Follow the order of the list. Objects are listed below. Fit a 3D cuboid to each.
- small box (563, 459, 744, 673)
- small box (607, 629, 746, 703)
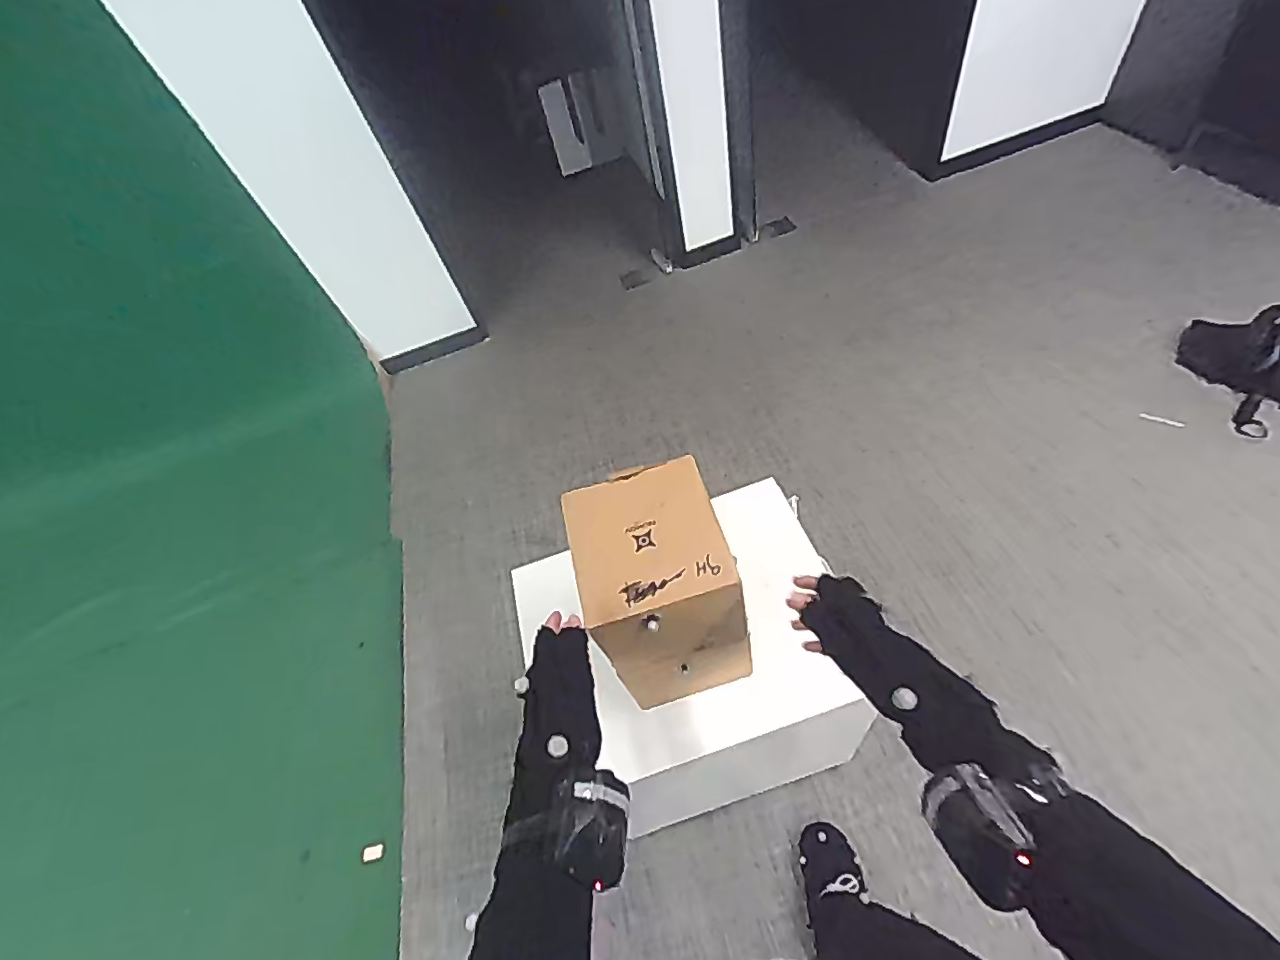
[{"bbox_3d":[0.019,0.109,0.662,0.168,0.176,0.179,-19,54,-2],"label":"small box"},{"bbox_3d":[0.045,0.205,0.788,0.179,0.176,0.168,-18,52,-1],"label":"small box"}]
